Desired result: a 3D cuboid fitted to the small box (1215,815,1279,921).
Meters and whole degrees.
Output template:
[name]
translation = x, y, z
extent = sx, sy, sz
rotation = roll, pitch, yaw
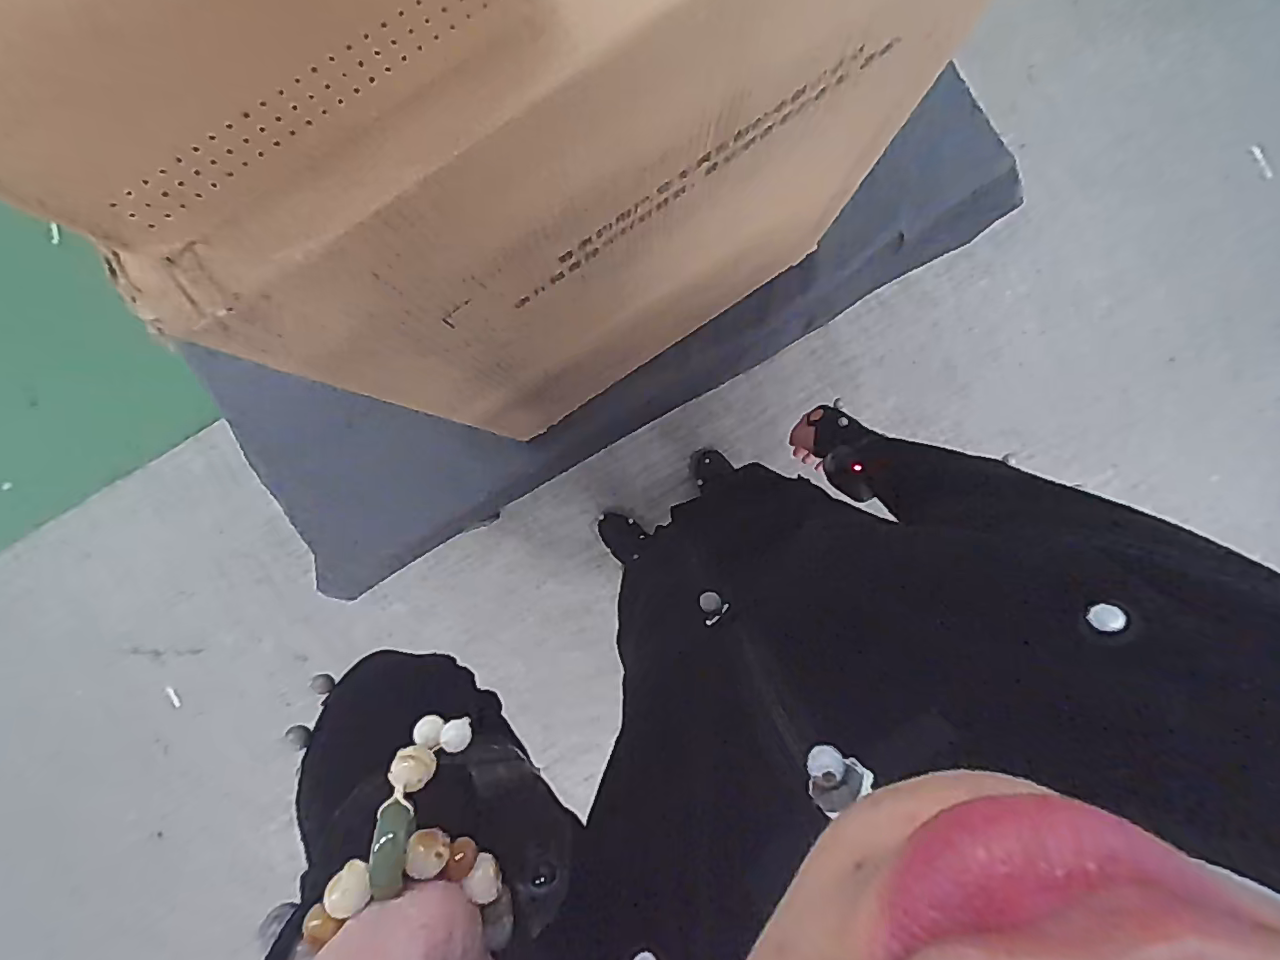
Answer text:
[small box]
translation = 1.596, 0.976, 1.320
extent = 0.168, 0.176, 0.179
rotation = -35, 90, -1
